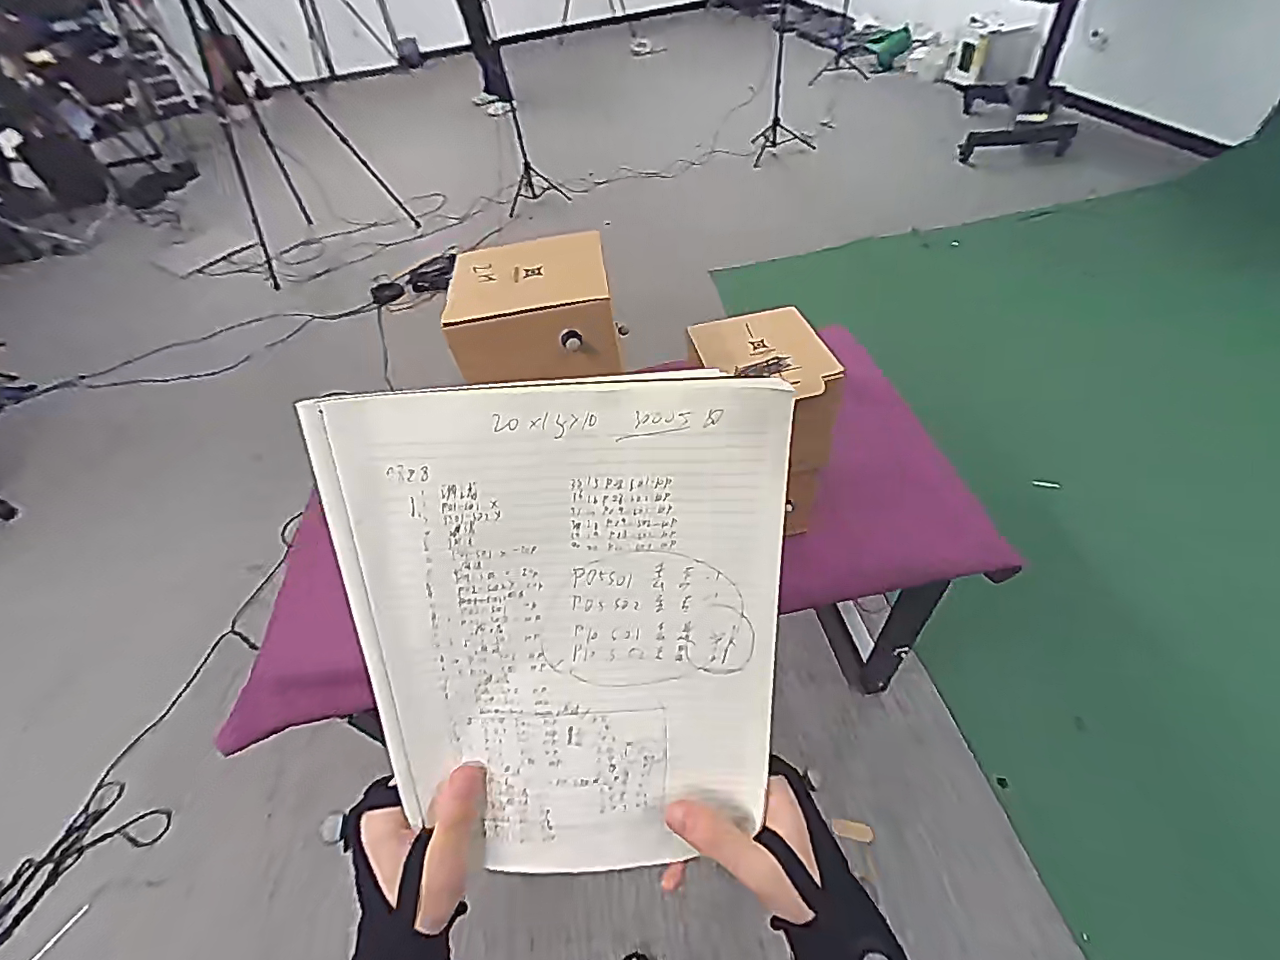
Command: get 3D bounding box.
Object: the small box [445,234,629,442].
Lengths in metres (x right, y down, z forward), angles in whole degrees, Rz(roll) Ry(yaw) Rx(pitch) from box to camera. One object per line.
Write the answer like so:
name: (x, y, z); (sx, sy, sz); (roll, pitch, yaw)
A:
small box: (-0.110, -0.168, 0.653); (0.179, 0.176, 0.168); (-10, 46, 1)

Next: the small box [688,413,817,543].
small box: (0.182, -0.009, 0.911); (0.168, 0.176, 0.179); (-10, 47, -2)

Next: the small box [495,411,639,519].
small box: (-0.101, -0.060, 0.778); (0.168, 0.176, 0.179); (-11, 47, -1)

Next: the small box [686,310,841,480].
small box: (0.169, -0.117, 0.788); (0.168, 0.176, 0.179); (-11, 46, -3)
